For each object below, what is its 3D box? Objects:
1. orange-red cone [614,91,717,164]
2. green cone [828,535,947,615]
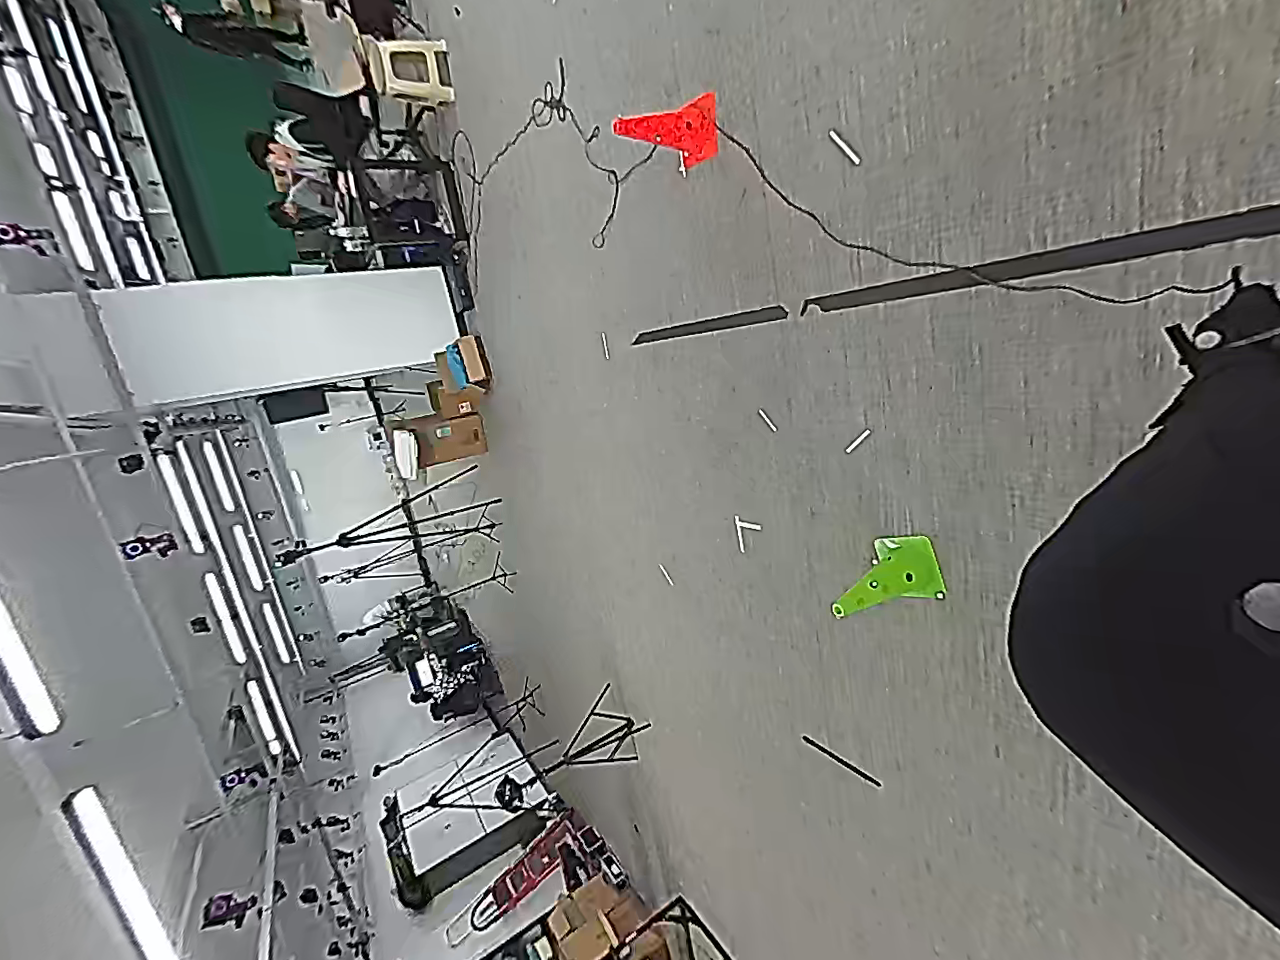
[{"bbox_3d":[0.071,-1.225,1.875,0.199,0.360,0.198,22,125,53],"label":"orange-red cone"},{"bbox_3d":[0.710,0.319,1.630,0.202,0.368,0.200,-19,88,62],"label":"green cone"}]
